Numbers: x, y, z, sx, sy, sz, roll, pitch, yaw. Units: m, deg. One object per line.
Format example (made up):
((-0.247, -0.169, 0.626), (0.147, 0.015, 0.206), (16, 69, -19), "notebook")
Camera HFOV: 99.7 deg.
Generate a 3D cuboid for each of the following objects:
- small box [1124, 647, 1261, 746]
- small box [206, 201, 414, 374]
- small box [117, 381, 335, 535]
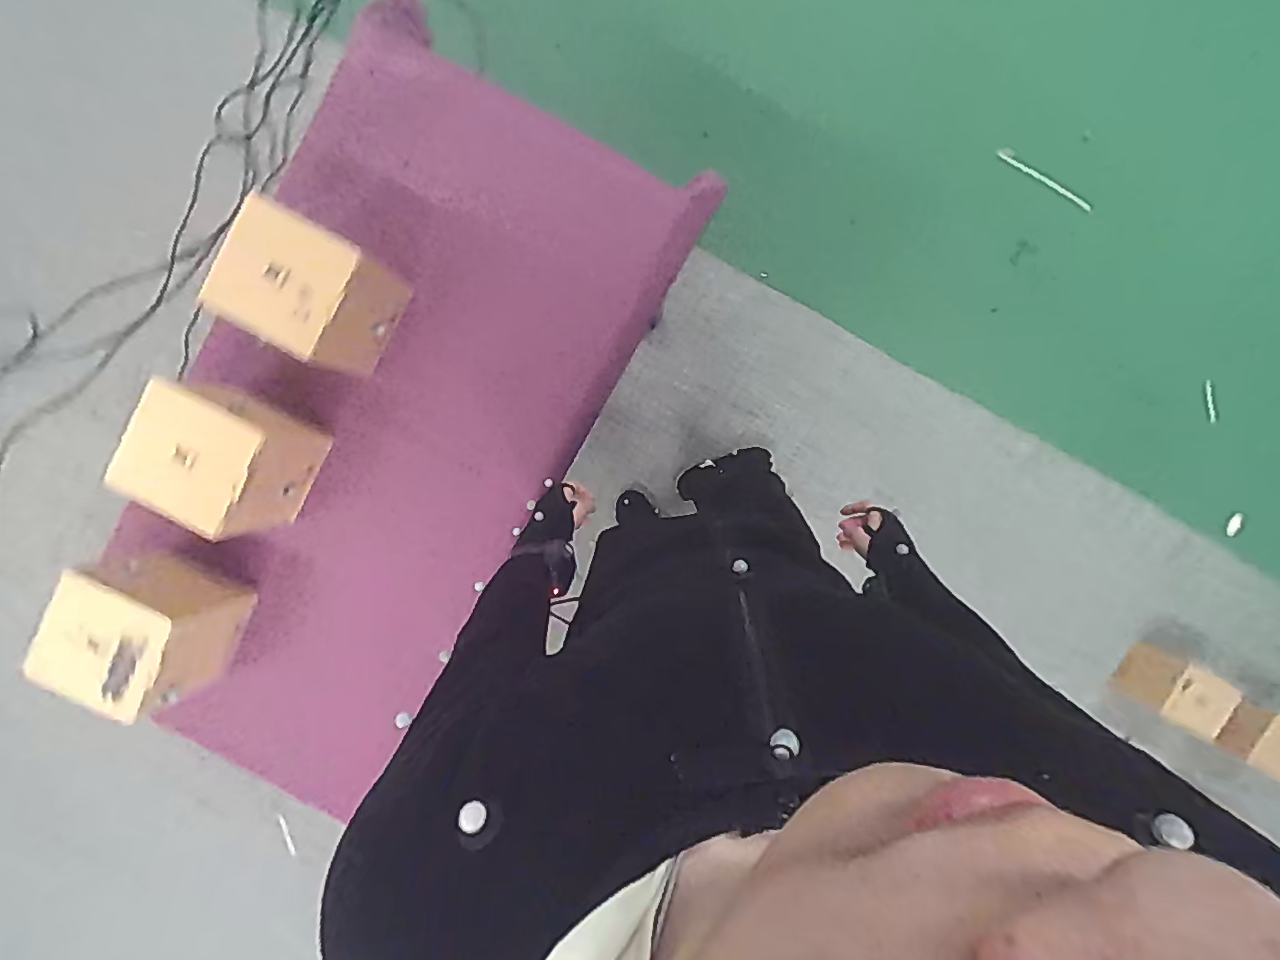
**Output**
((1.547, 0.599, 1.524), (0.179, 0.176, 0.168), (30, 93, -1), "small box")
((-0.488, -0.277, 0.826), (0.179, 0.176, 0.168), (29, 94, 0), "small box")
((-0.629, -0.033, 0.843), (0.179, 0.176, 0.168), (27, 93, -1), "small box")
